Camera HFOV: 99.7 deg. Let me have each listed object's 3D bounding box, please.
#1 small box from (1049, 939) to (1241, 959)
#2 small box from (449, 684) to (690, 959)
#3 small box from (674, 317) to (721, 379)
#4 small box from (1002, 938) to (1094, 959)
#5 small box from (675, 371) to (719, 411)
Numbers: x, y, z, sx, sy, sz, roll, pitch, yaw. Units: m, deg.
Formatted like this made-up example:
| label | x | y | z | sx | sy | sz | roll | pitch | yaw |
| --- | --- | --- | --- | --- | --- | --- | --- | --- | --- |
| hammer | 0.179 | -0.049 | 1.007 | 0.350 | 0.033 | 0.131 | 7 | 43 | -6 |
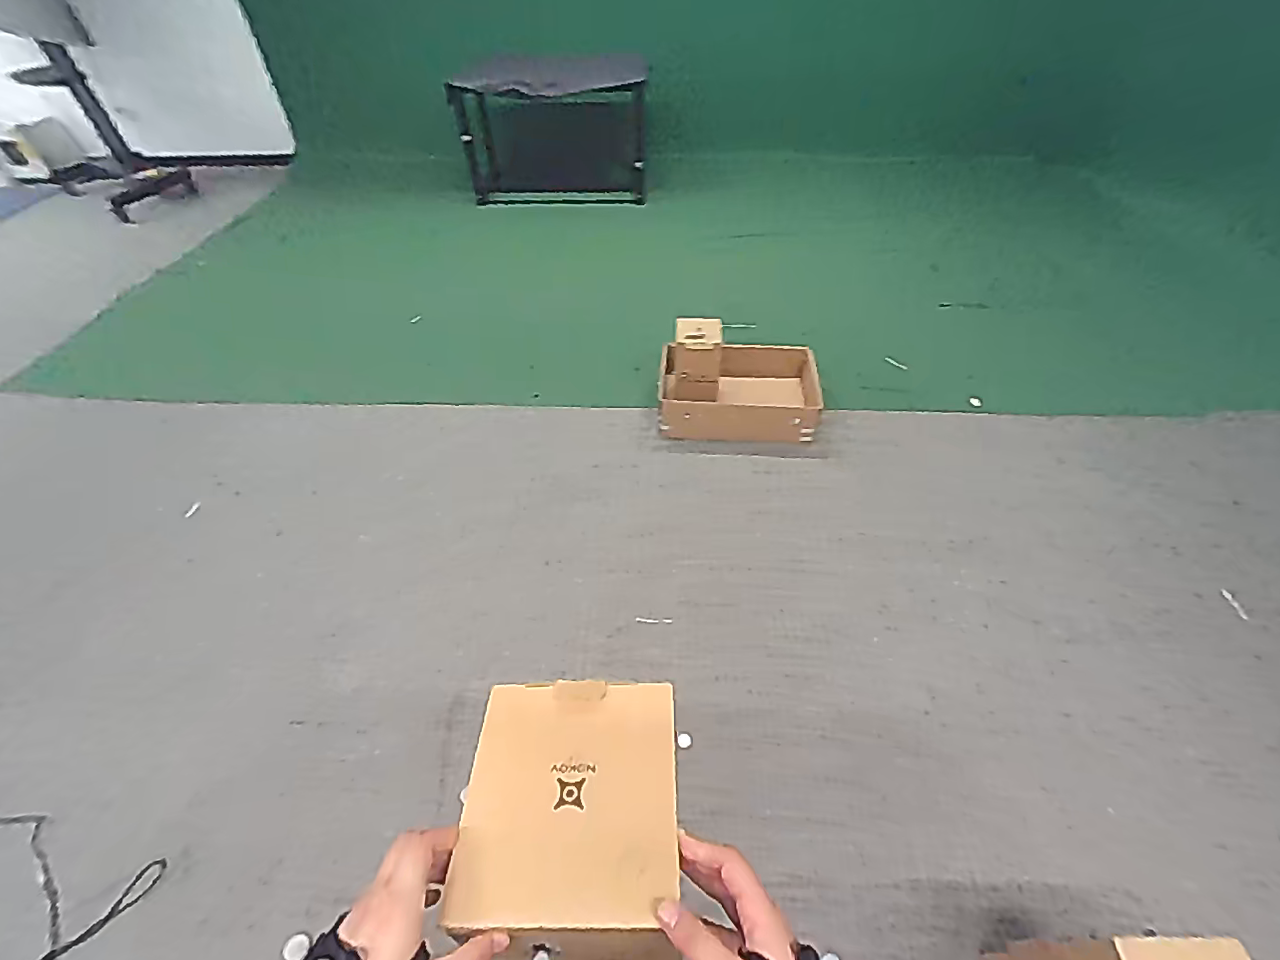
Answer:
| label | x | y | z | sx | sy | sz | roll | pitch | yaw |
| --- | --- | --- | --- | --- | --- | --- | --- | --- | --- |
| small box | 0.742 | 0.762 | 0.764 | 0.179 | 0.176 | 0.168 | 0 | 47 | 1 |
| small box | -0.042 | 0.301 | 0.470 | 0.168 | 0.176 | 0.179 | -1 | 40 | 2 |
| small box | 0.218 | -0.504 | 2.071 | 0.168 | 0.176 | 0.179 | 3 | 47 | 2 |
| small box | 0.750 | 0.868 | 0.889 | 0.179 | 0.176 | 0.168 | -1 | 47 | 2 |
| small box | 0.226 | -0.402 | 2.200 | 0.168 | 0.176 | 0.179 | 1 | 48 | 2 |
